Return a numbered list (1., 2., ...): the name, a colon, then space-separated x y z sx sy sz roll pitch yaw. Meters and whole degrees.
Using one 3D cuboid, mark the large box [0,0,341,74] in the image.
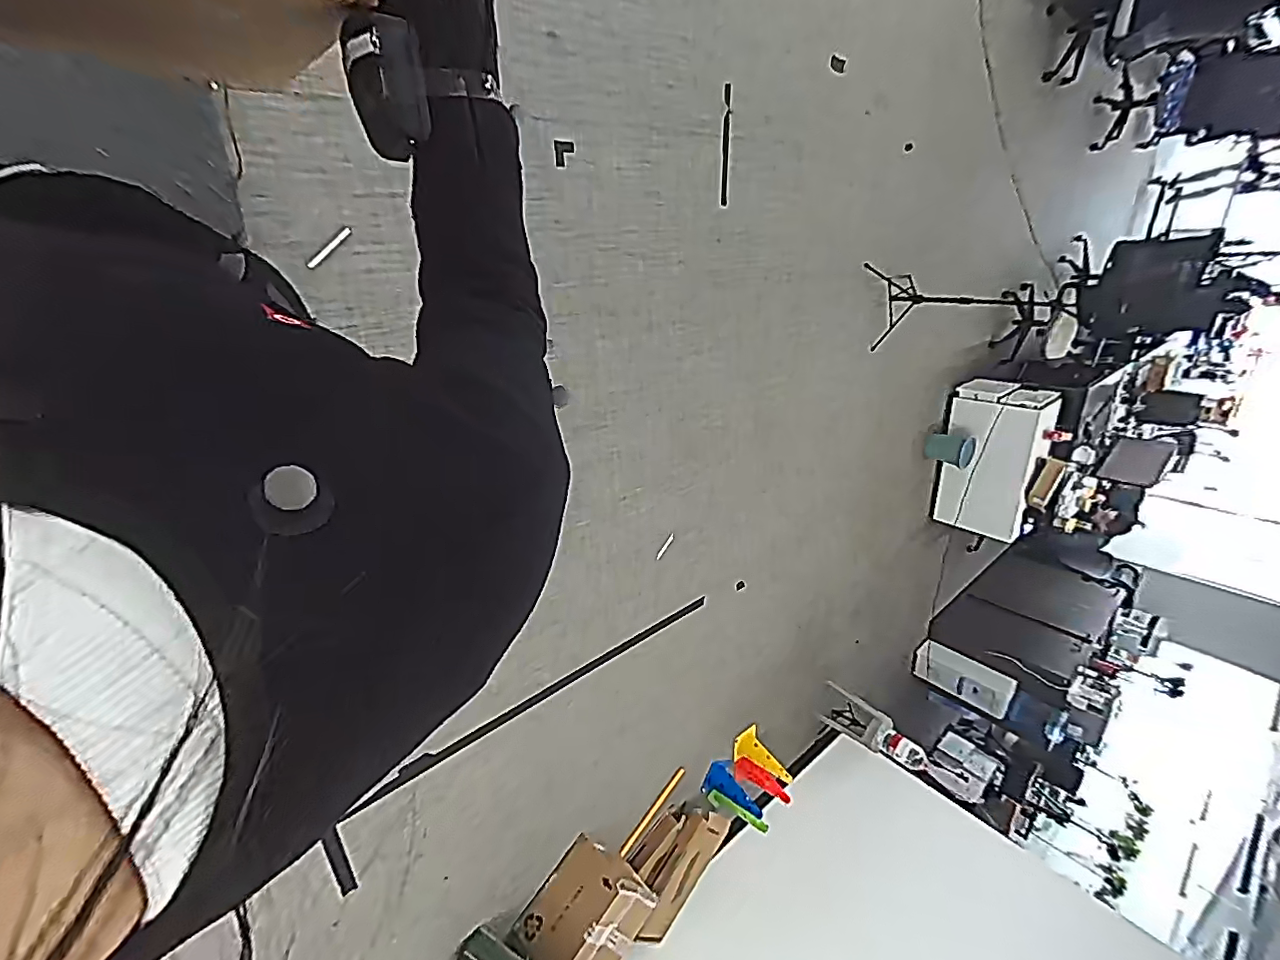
1. large box: -0.400 -0.417 0.230 0.408 0.320 0.320 -17 123 -37
